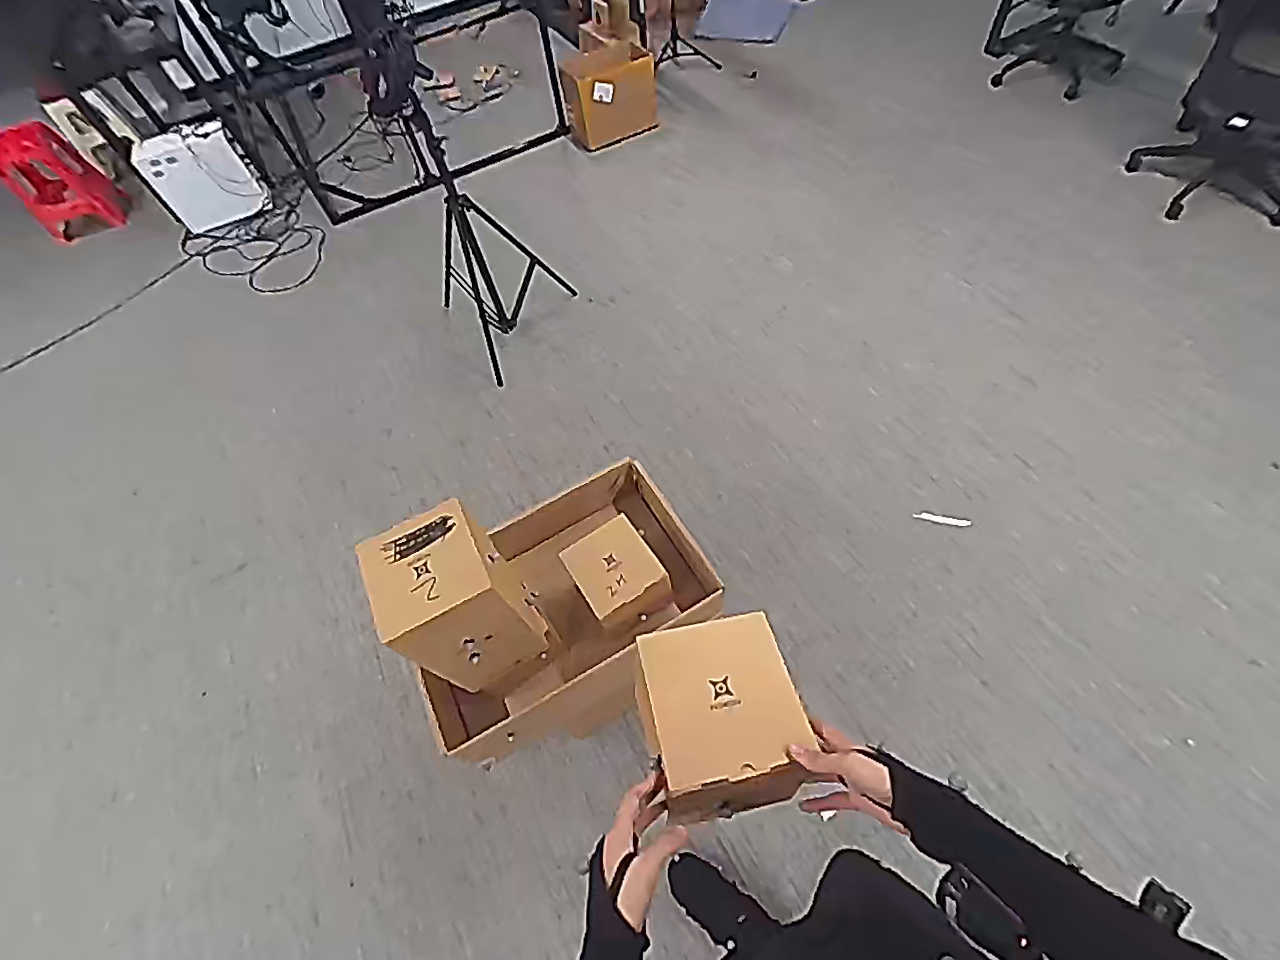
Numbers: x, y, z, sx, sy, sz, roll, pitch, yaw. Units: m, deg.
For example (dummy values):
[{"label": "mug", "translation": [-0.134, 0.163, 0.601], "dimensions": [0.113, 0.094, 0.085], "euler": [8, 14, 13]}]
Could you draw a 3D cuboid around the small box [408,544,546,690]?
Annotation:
[{"label": "small box", "translation": [-0.293, 0.254, 0.992], "dimensions": [0.168, 0.176, 0.179], "euler": [-28, 58, -10]}]

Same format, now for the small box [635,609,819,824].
[{"label": "small box", "translation": [0.089, 0.290, 0.665], "dimensions": [0.168, 0.176, 0.179], "euler": [-10, 47, -9]}]
